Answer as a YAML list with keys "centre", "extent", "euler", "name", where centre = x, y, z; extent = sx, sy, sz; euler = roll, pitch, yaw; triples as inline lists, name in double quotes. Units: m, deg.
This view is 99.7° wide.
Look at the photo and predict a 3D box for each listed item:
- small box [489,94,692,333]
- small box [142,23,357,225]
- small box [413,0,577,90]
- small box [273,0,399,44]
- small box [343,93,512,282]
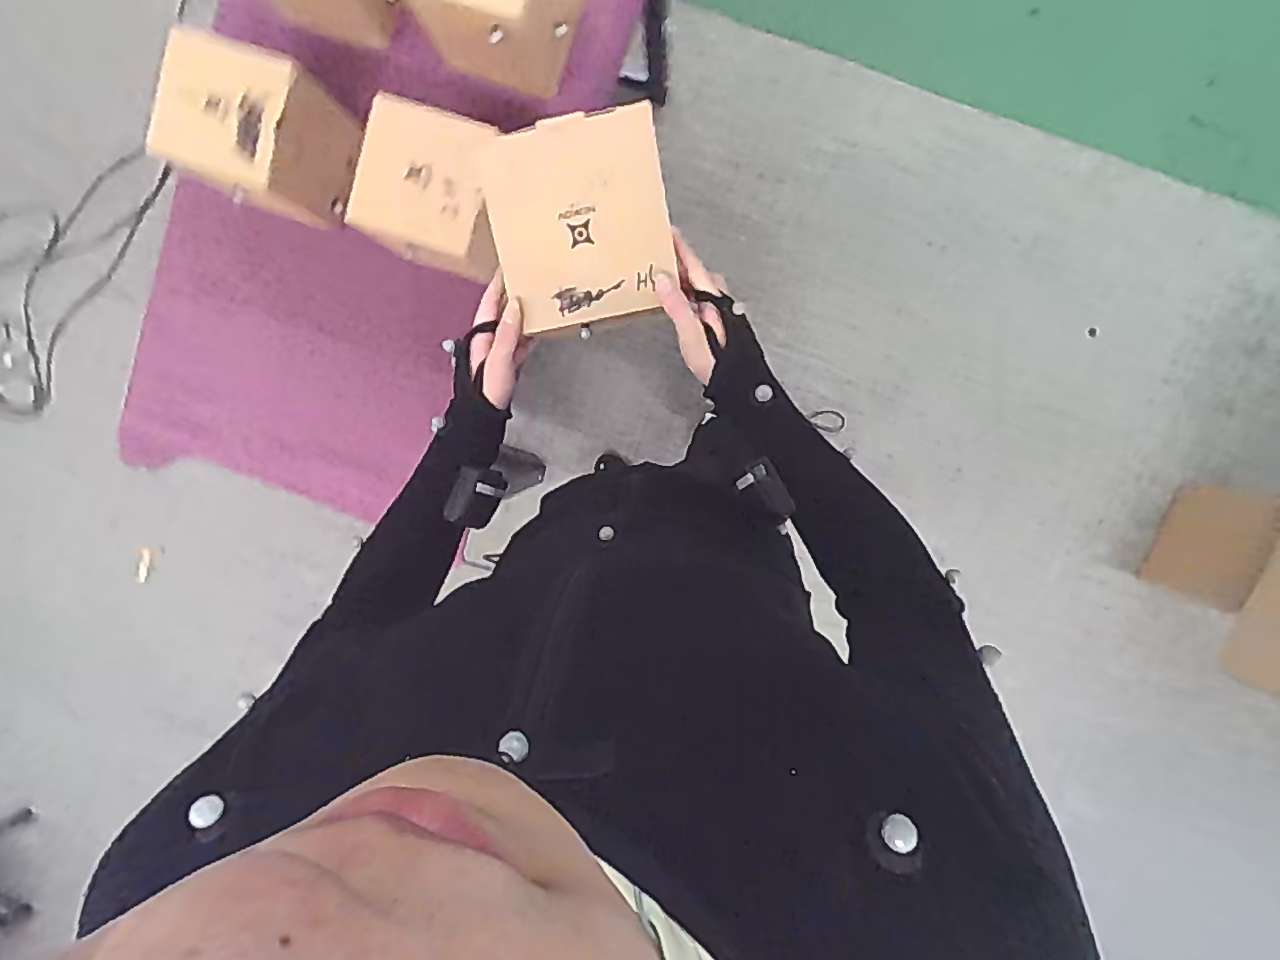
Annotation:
- centre: [-0.041, -0.261, 0.575]
  extent: [0.168, 0.176, 0.179]
  euler: [-9, 102, 5]
  name: "small box"
- centre: [-0.551, -0.498, 0.787]
  extent: [0.179, 0.176, 0.168]
  euler: [19, 96, 1]
  name: "small box"
- centre: [-0.204, -0.689, 0.750]
  extent: [0.179, 0.176, 0.168]
  euler: [19, 96, 1]
  name: "small box"
- centre: [-0.456, -0.765, 0.756]
  extent: [0.179, 0.176, 0.168]
  euler: [18, 98, 0]
  name: "small box"
- centre: [-0.281, -0.405, 0.781]
  extent: [0.179, 0.176, 0.168]
  euler: [18, 97, 2]
  name: "small box"
